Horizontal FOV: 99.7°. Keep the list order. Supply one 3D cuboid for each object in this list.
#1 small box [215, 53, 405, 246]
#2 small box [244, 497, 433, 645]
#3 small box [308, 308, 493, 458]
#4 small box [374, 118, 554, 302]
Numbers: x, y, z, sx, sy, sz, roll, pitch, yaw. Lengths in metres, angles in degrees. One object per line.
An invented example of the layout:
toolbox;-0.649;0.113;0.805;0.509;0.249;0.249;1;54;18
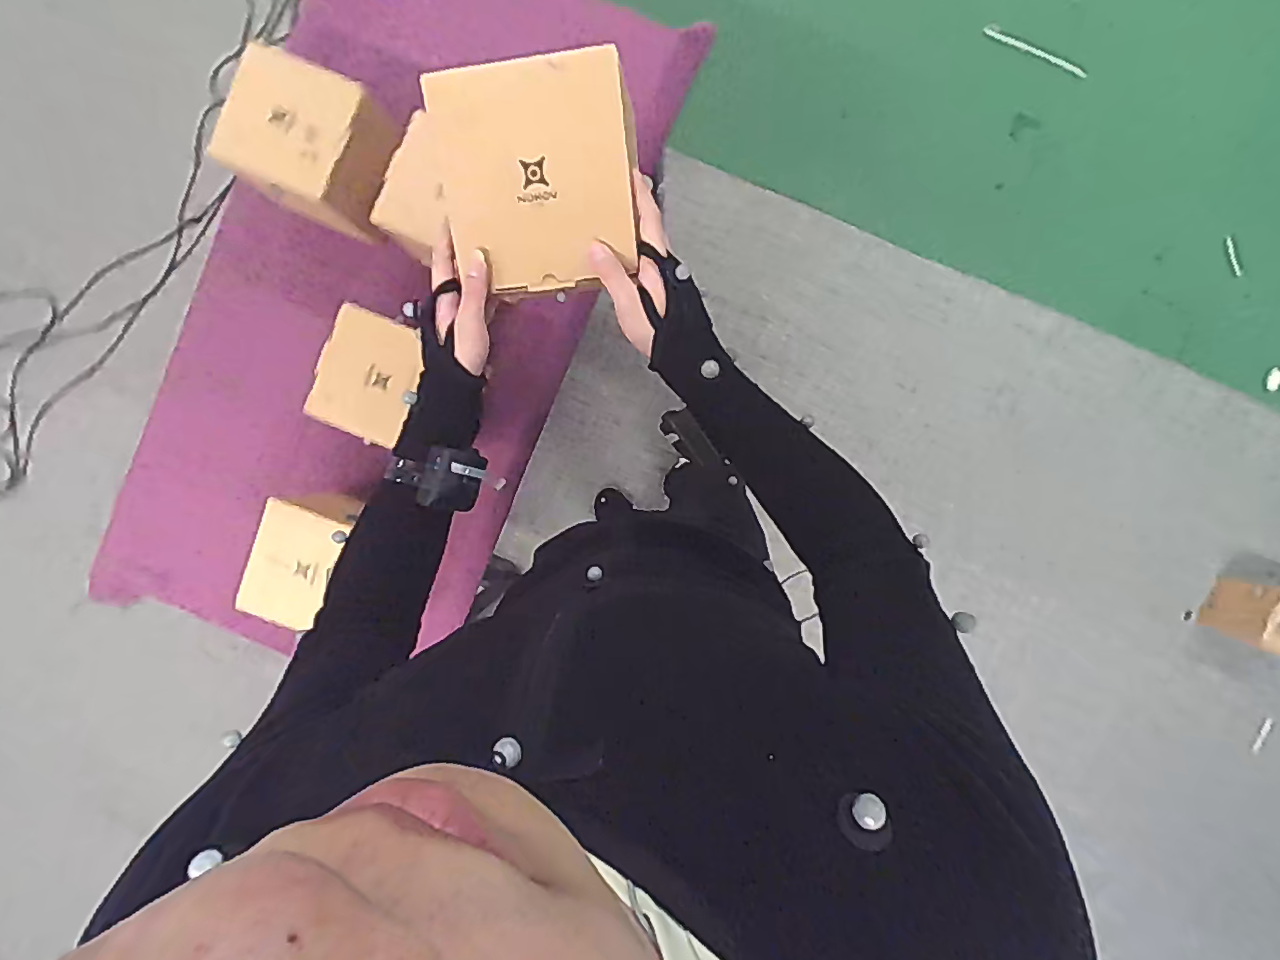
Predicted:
small box;-0.484;-0.491;0.833;0.179;0.176;0.168;24;93;1
small box;-0.458;0.129;0.849;0.179;0.176;0.168;19;92;4
small box;-0.358;-0.139;0.840;0.179;0.176;0.168;23;94;2
small box;-0.255;-0.395;0.825;0.179;0.176;0.168;24;93;3
